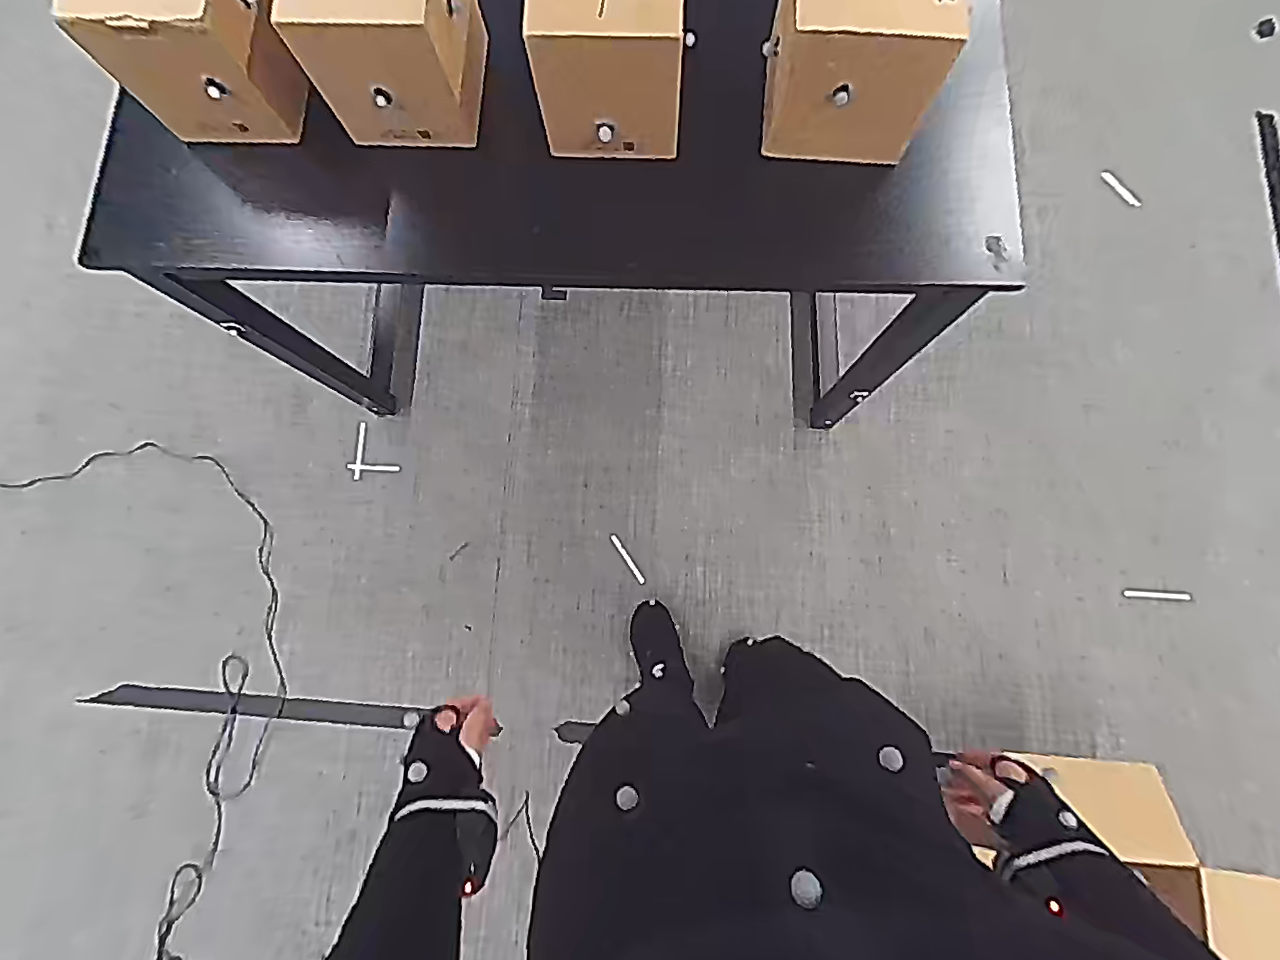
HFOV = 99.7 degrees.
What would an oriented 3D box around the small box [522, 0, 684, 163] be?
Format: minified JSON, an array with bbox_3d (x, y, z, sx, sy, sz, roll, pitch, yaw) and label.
[{"bbox_3d":[-0.033,-0.519,0.645,0.168,0.176,0.179,3,81,2],"label":"small box"}]

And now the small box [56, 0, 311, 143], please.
[{"bbox_3d":[-0.537,-0.551,0.667,0.168,0.176,0.179,2,79,1],"label":"small box"}]

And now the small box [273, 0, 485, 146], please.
[{"bbox_3d":[-0.297,-0.540,0.656,0.168,0.176,0.179,3,80,1],"label":"small box"}]

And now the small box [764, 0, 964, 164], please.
[{"bbox_3d":[0.247,-0.503,0.634,0.179,0.176,0.168,5,80,4],"label":"small box"}]
